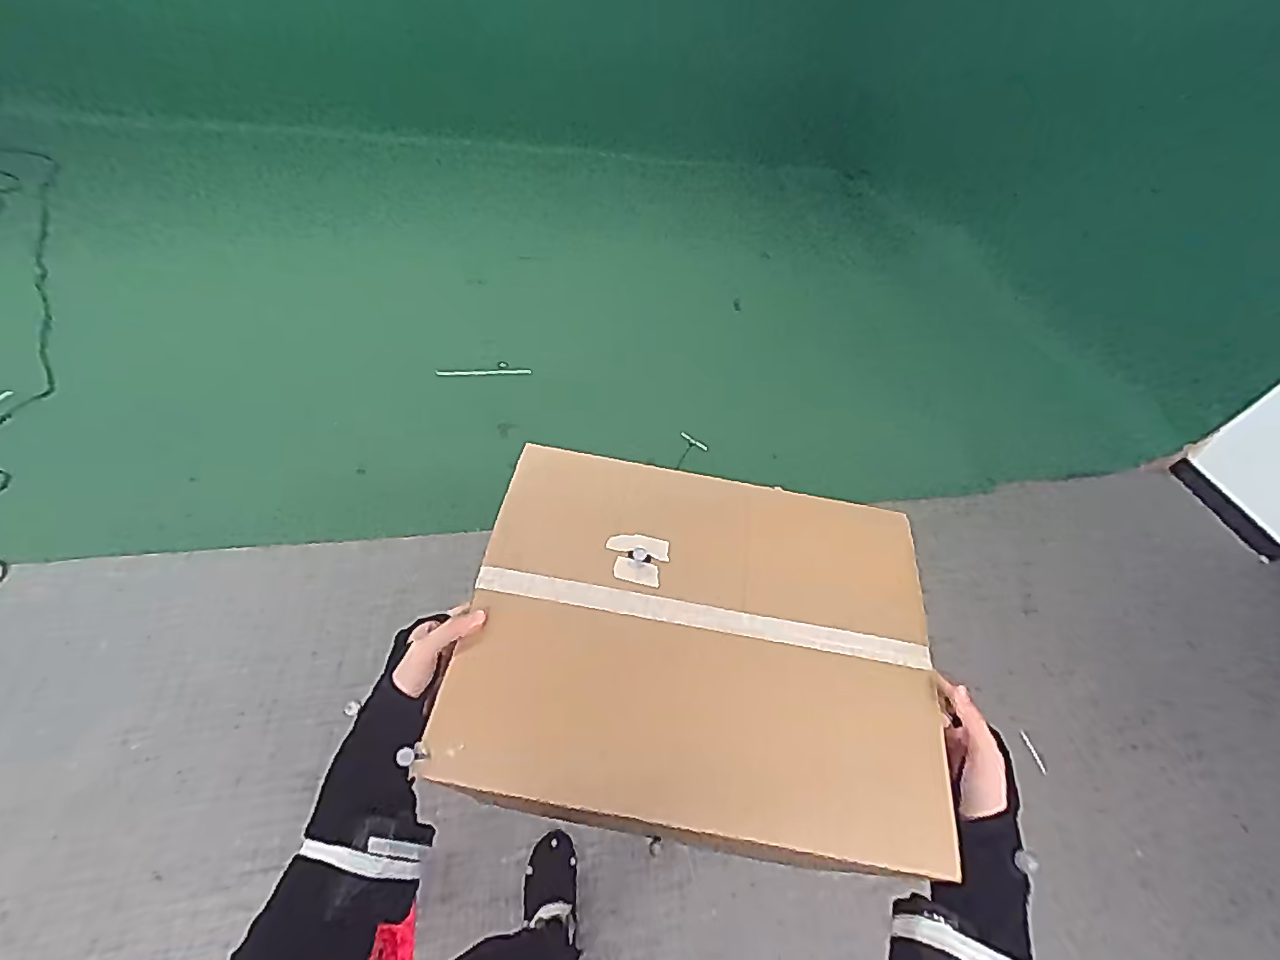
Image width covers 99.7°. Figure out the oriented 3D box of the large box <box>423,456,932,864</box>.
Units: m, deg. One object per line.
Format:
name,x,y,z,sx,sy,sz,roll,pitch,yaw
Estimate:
large box,0.040,0.211,0.617,0.408,0.320,0.320,10,56,2
